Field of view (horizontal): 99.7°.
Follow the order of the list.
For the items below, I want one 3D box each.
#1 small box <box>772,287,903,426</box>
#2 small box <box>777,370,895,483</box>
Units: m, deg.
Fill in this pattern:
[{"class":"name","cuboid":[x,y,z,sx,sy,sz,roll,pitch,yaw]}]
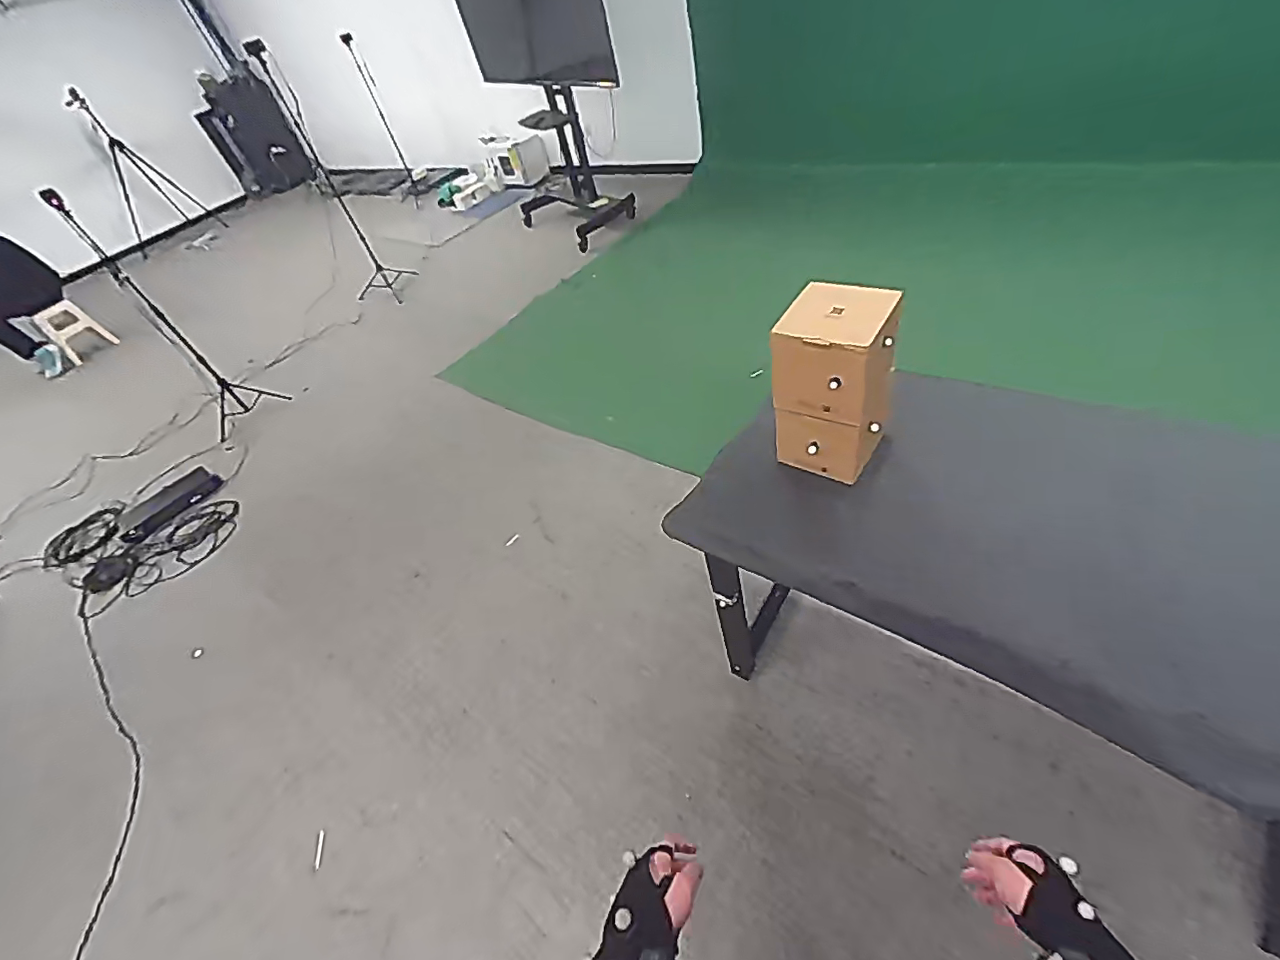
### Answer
[{"class":"small box","cuboid":[0.354,-0.223,0.977,0.168,0.176,0.179,20,54,31]},{"class":"small box","cuboid":[0.396,-0.121,1.098,0.168,0.176,0.179,22,57,32]}]
